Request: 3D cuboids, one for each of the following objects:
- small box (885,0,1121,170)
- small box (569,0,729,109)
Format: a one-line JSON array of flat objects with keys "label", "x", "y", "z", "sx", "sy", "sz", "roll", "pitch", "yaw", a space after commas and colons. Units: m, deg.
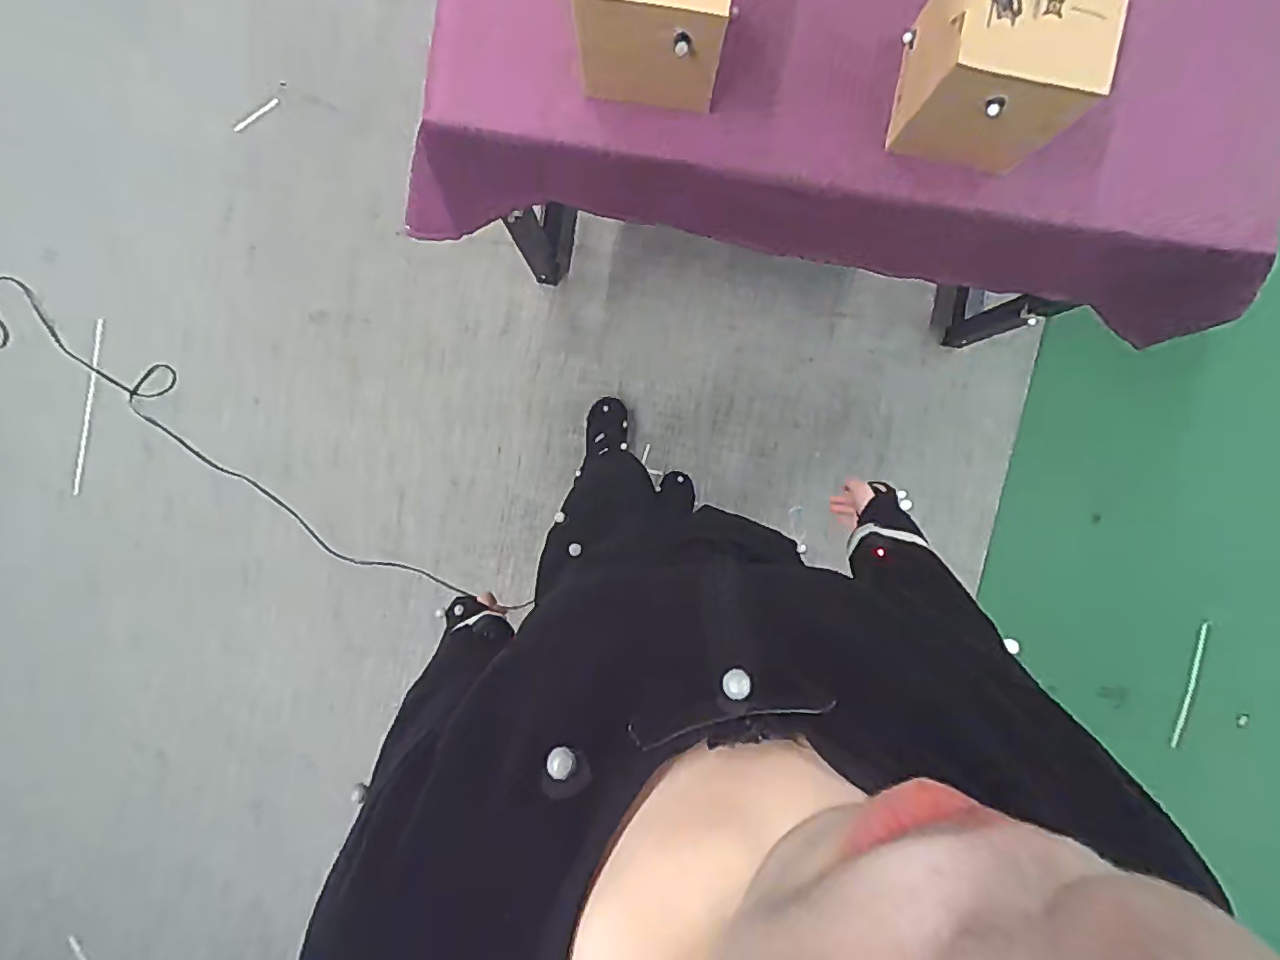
[{"label": "small box", "x": 0.433, "y": -0.516, "z": 0.668, "sx": 0.179, "sy": 0.176, "sz": 0.168, "roll": 11, "pitch": 92, "yaw": -1}, {"label": "small box", "x": 0.017, "y": -0.595, "z": 0.661, "sx": 0.179, "sy": 0.176, "sz": 0.168, "roll": 8, "pitch": 92, "yaw": -1}]
